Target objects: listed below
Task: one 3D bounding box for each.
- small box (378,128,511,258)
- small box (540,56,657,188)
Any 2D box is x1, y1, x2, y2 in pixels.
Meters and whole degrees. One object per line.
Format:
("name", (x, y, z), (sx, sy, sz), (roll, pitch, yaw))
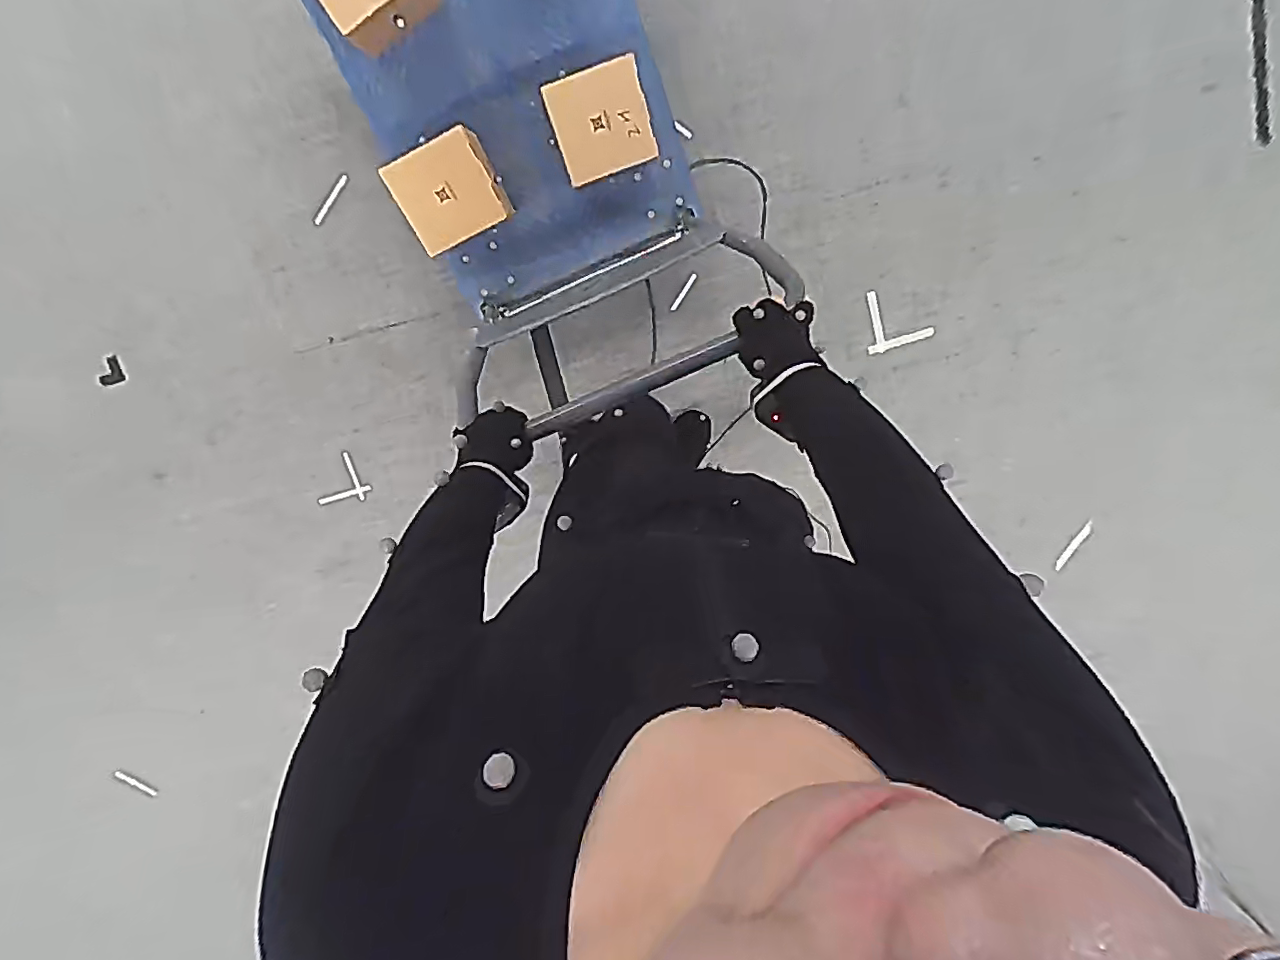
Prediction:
("small box", (-0.374, -0.562, 1.075), (0.179, 0.176, 0.168), (-26, 117, 4))
("small box", (-0.081, -0.683, 1.054), (0.179, 0.176, 0.168), (-19, 118, 2))
